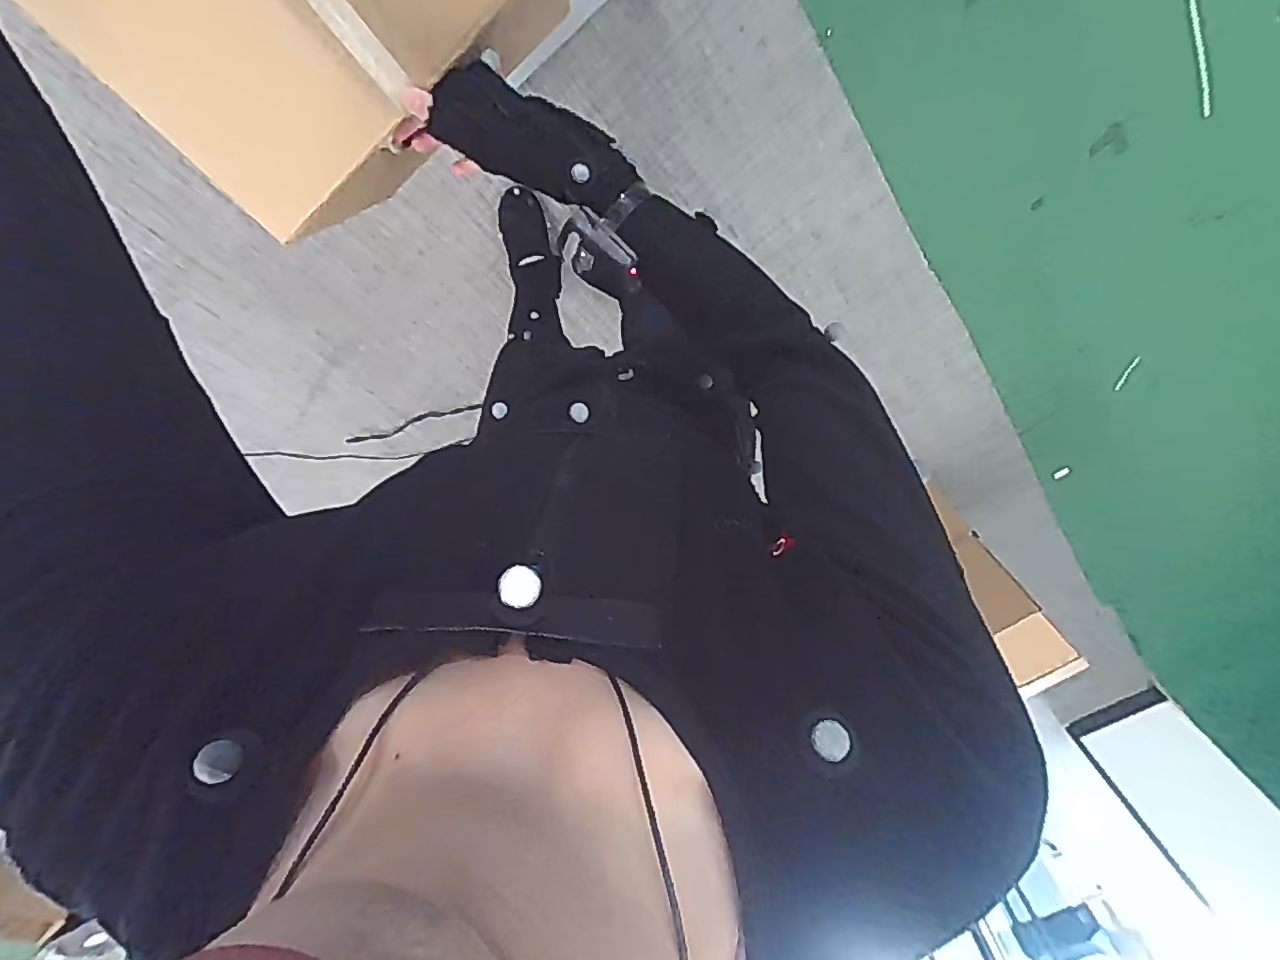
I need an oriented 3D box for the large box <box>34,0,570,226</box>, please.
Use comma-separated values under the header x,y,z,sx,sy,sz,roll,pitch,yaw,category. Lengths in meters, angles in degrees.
x,y,z,sx,sy,sz,roll,pitch,yaw,category
-0.301,-0.492,0.428,0.320,0.320,0.408,-35,120,16,large box
